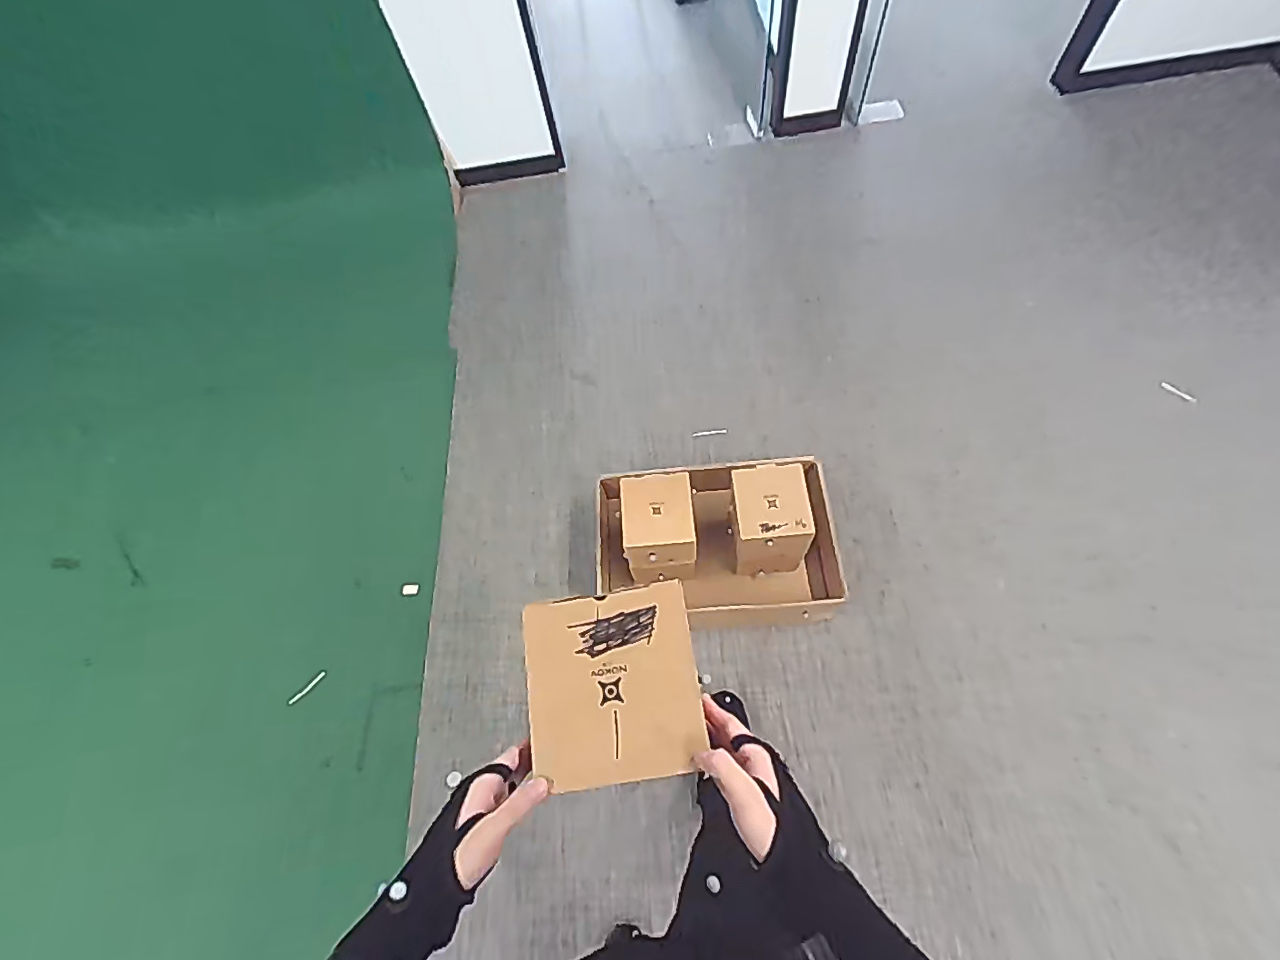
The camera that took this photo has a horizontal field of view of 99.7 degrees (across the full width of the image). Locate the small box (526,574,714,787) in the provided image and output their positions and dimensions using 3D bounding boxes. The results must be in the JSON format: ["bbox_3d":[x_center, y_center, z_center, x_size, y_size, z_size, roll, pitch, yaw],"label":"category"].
[{"bbox_3d":[-0.019,0.219,0.590,0.168,0.176,0.179,-10,66,2],"label":"small box"}]

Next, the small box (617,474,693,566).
[{"bbox_3d":[0.039,0.104,1.310,0.168,0.176,0.179,-5,64,3],"label":"small box"}]

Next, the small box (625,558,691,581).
[{"bbox_3d":[0.050,0.173,1.455,0.168,0.176,0.179,-4,64,3],"label":"small box"}]

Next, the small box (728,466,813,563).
[{"bbox_3d":[0.303,0.085,1.291,0.168,0.176,0.179,-5,63,6],"label":"small box"}]
